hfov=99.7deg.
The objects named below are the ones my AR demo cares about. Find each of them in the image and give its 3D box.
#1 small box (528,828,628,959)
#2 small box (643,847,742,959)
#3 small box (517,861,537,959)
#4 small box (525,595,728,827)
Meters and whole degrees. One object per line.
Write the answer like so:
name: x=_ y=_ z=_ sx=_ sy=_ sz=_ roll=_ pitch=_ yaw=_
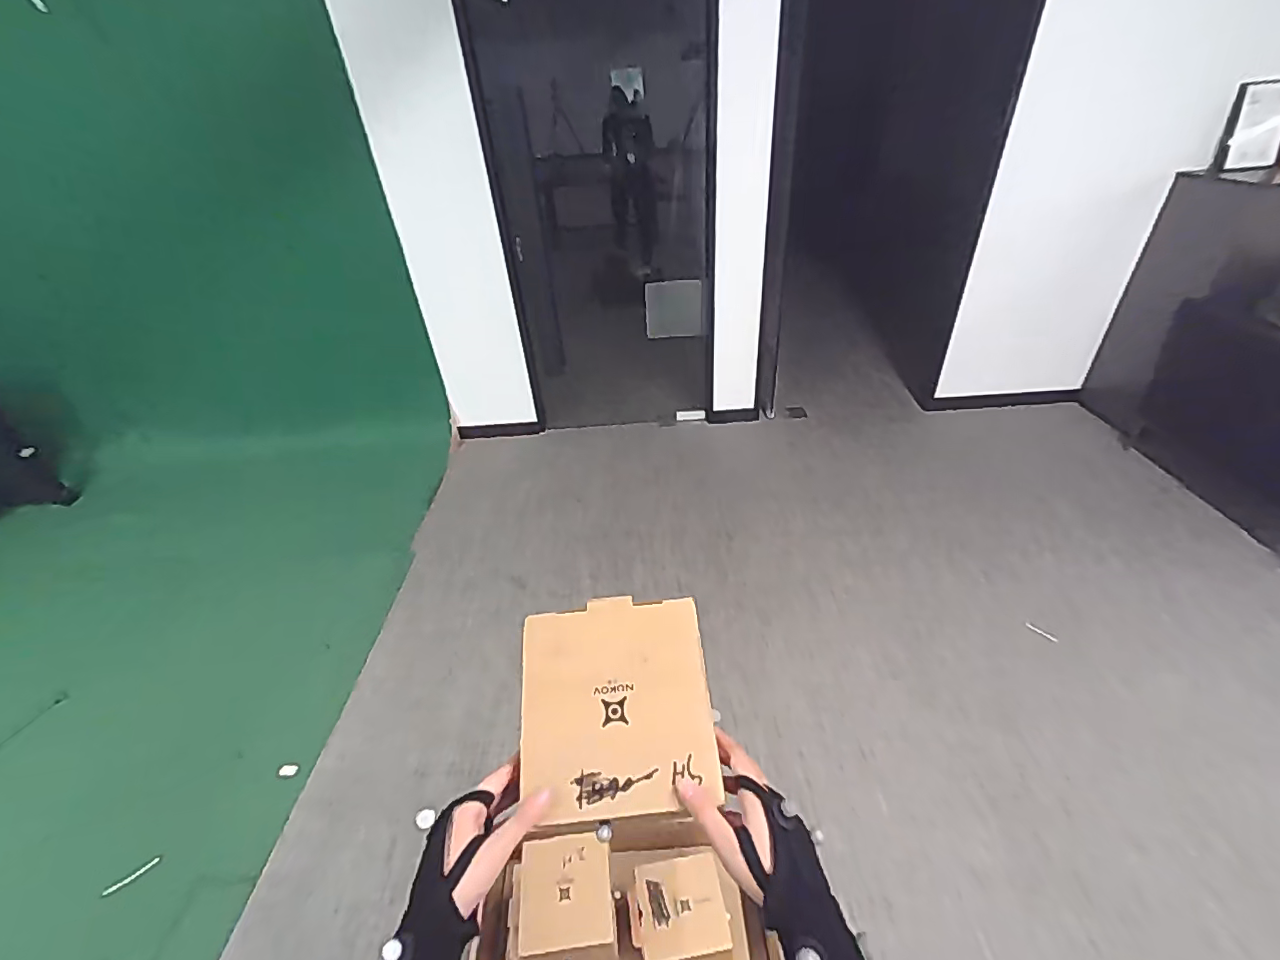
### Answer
small box: x=-0.115 y=0.809 z=1.043 sx=0.168 sy=0.176 sz=0.179 roll=-6 pitch=38 yaw=-4
small box: x=0.110 y=0.914 z=1.142 sx=0.179 sy=0.176 sz=0.168 roll=-9 pitch=37 yaw=-3
small box: x=-0.154 y=0.931 z=1.156 sx=0.179 sy=0.176 sz=0.168 roll=-5 pitch=38 yaw=-2
small box: x=-0.012 y=0.235 z=0.541 sx=0.168 sy=0.176 sz=0.179 roll=-8 pitch=57 yaw=1
